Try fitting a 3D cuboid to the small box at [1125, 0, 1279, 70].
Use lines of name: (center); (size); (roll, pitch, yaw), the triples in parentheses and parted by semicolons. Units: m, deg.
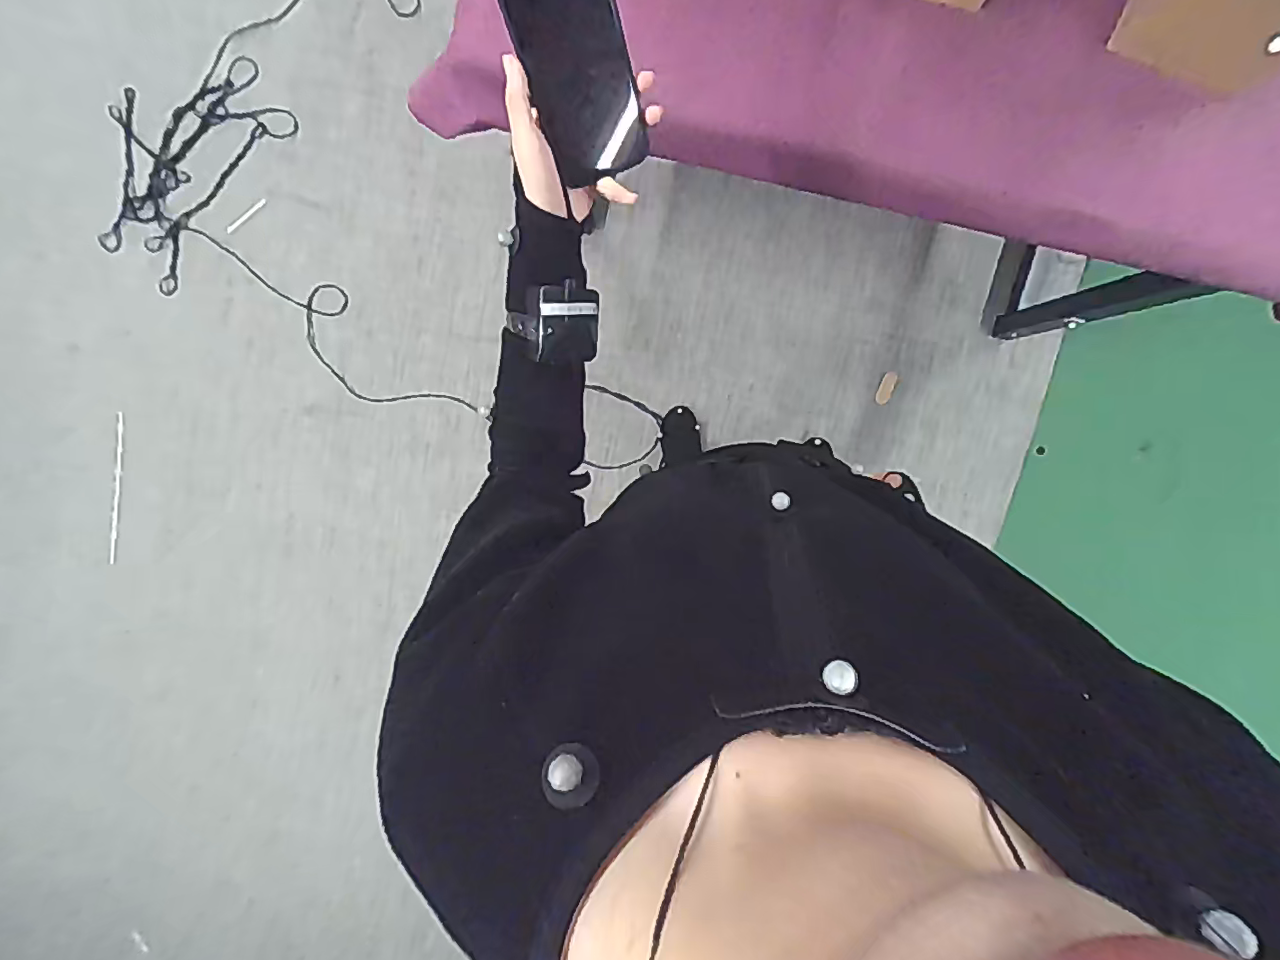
small box: (0.679, -0.574, 0.556); (0.179, 0.176, 0.168); (22, 98, 2)
